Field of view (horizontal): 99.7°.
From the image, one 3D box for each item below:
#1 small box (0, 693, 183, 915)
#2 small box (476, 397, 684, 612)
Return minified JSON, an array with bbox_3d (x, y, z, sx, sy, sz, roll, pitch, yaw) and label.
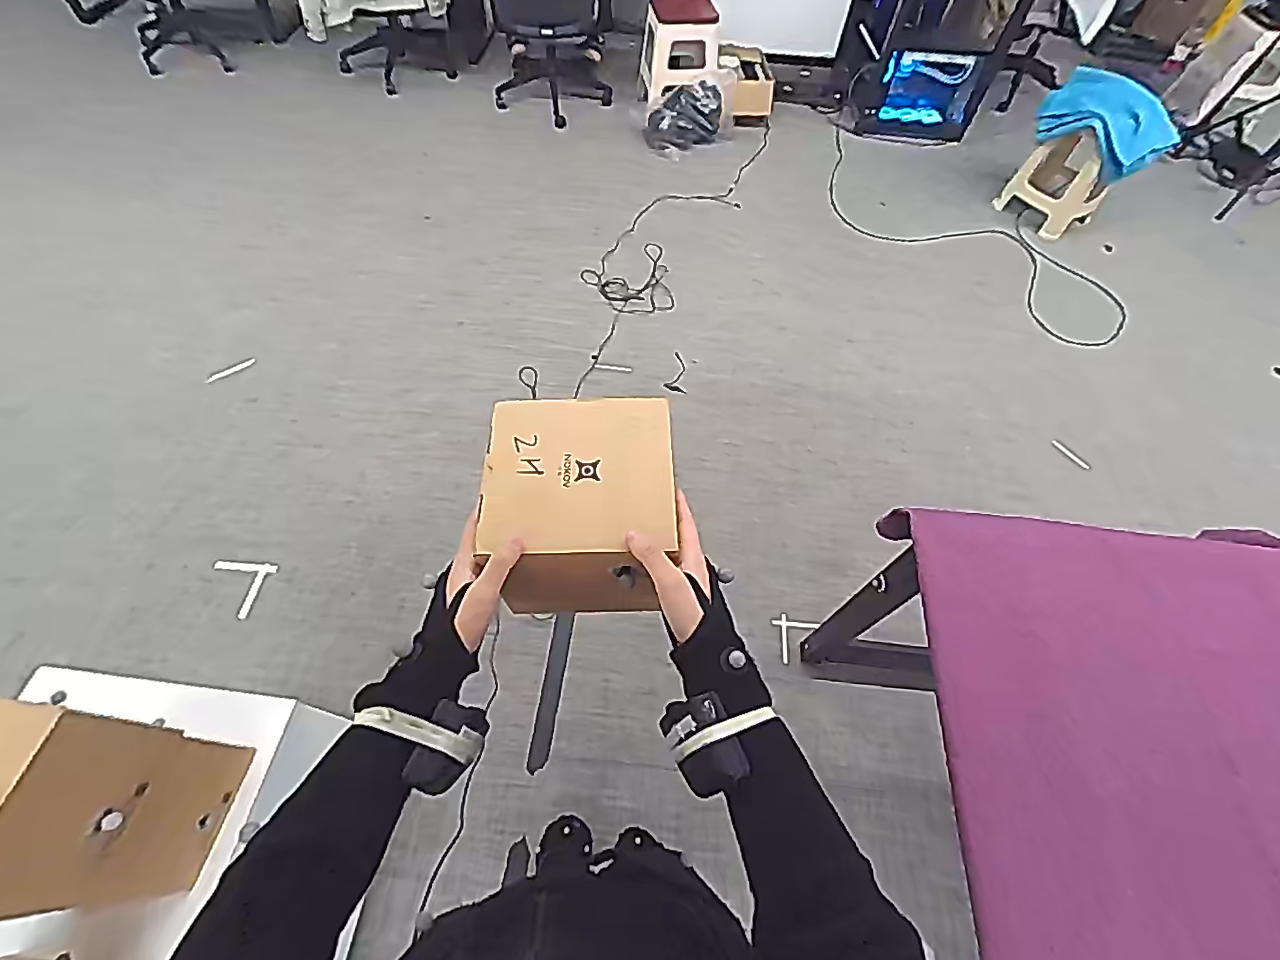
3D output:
[{"bbox_3d":[-0.615,0.303,0.519,0.179,0.176,0.168,9,59,2],"label":"small box"},{"bbox_3d":[-0.051,0.032,0.559,0.179,0.176,0.168,-1,59,0],"label":"small box"}]
